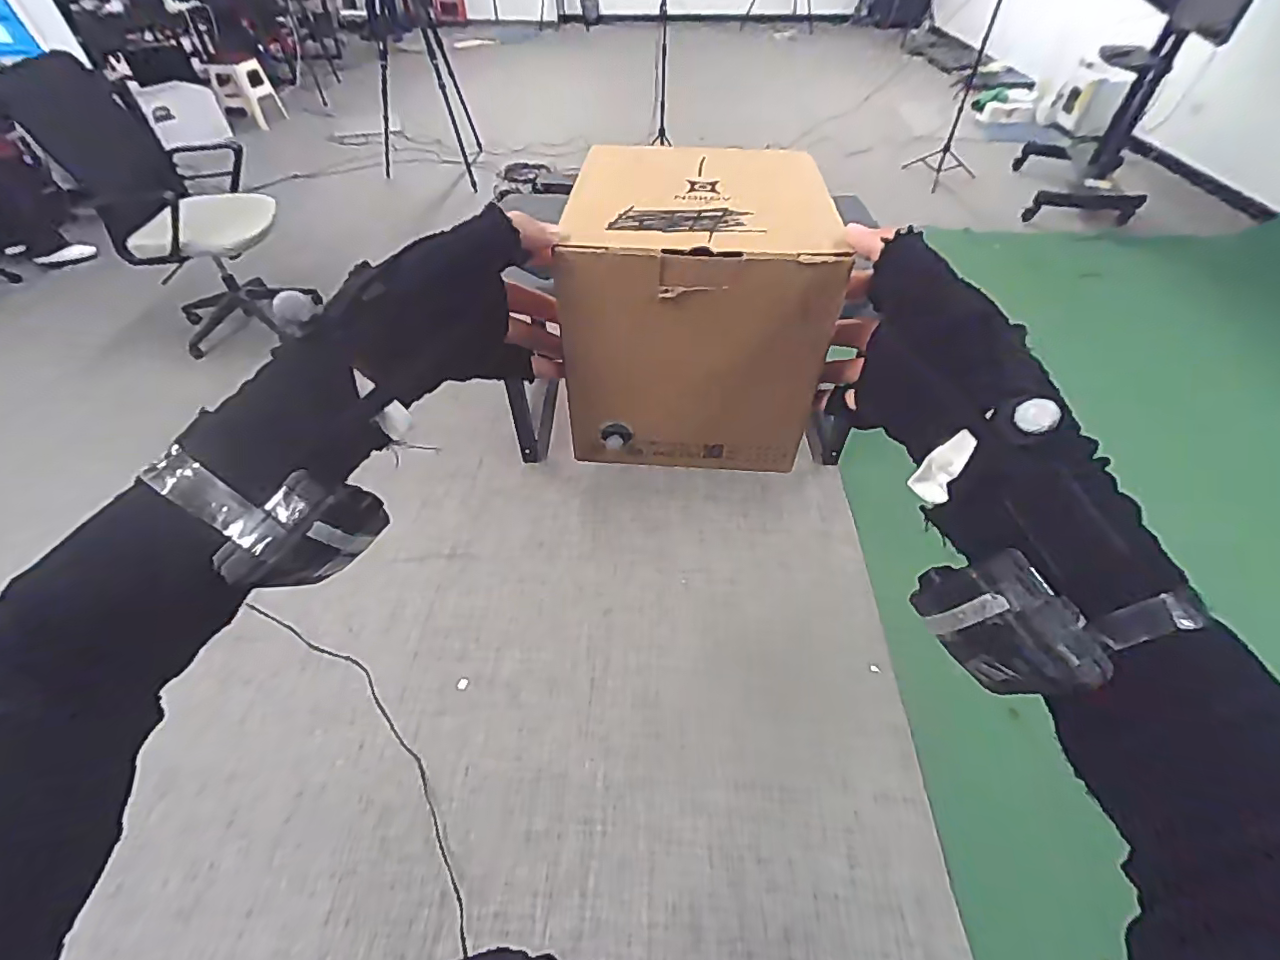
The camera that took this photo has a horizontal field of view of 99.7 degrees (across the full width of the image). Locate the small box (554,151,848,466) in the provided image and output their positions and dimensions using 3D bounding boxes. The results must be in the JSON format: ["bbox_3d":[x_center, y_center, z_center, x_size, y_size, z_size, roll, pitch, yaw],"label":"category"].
[{"bbox_3d":[0.040,-0.127,0.409,0.168,0.176,0.179,4,47,3],"label":"small box"}]
